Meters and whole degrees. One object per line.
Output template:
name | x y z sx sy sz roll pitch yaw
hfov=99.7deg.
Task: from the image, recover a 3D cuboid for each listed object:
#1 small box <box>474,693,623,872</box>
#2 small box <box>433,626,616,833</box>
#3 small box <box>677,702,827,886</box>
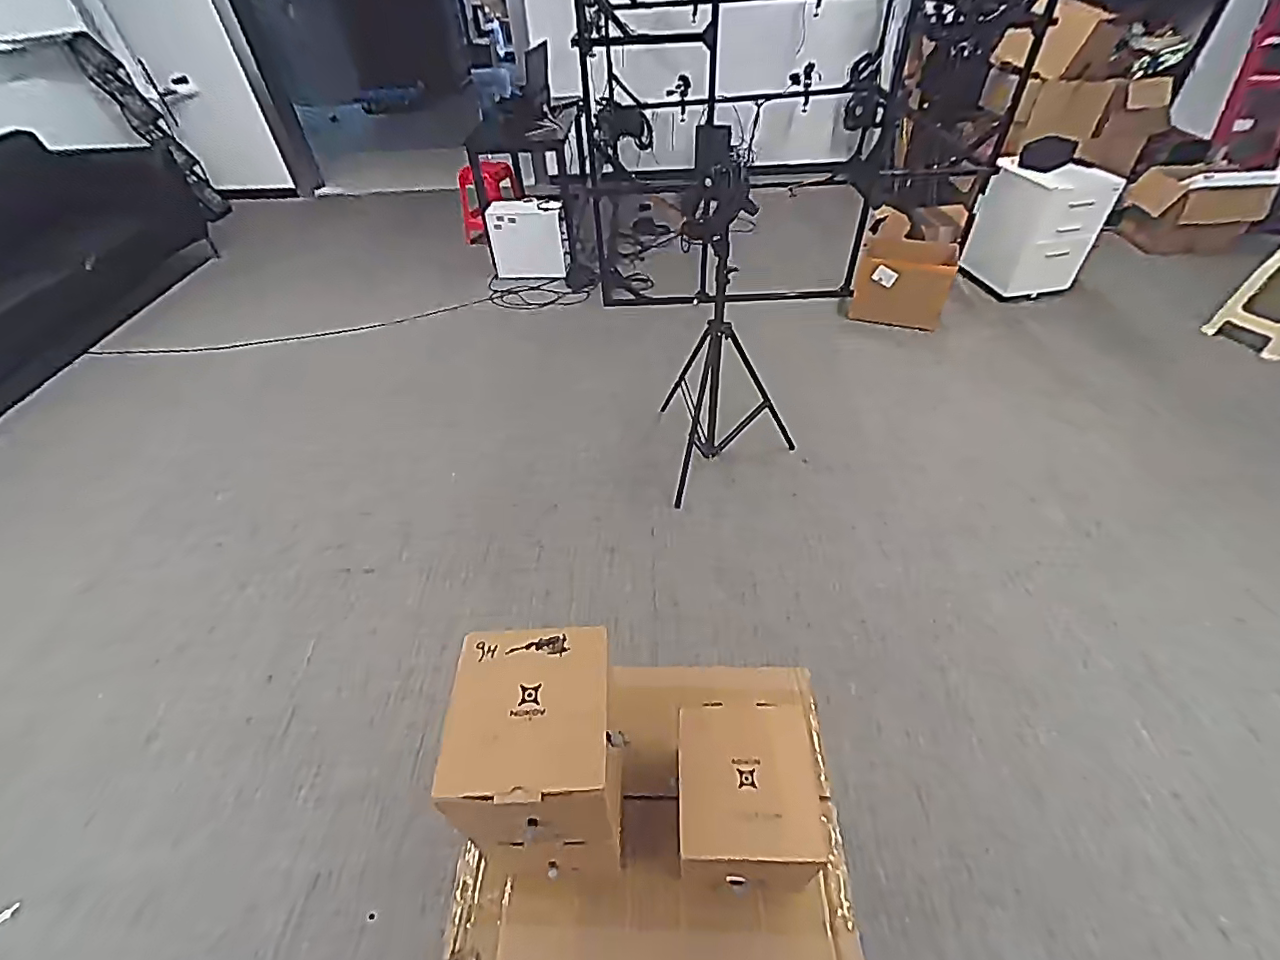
small box | -0.110 0.409 0.735 0.168 0.176 0.179 -1 45 1
small box | -0.114 0.290 0.622 0.168 0.176 0.179 -2 45 0
small box | 0.133 0.415 0.717 0.168 0.176 0.179 -3 46 4
